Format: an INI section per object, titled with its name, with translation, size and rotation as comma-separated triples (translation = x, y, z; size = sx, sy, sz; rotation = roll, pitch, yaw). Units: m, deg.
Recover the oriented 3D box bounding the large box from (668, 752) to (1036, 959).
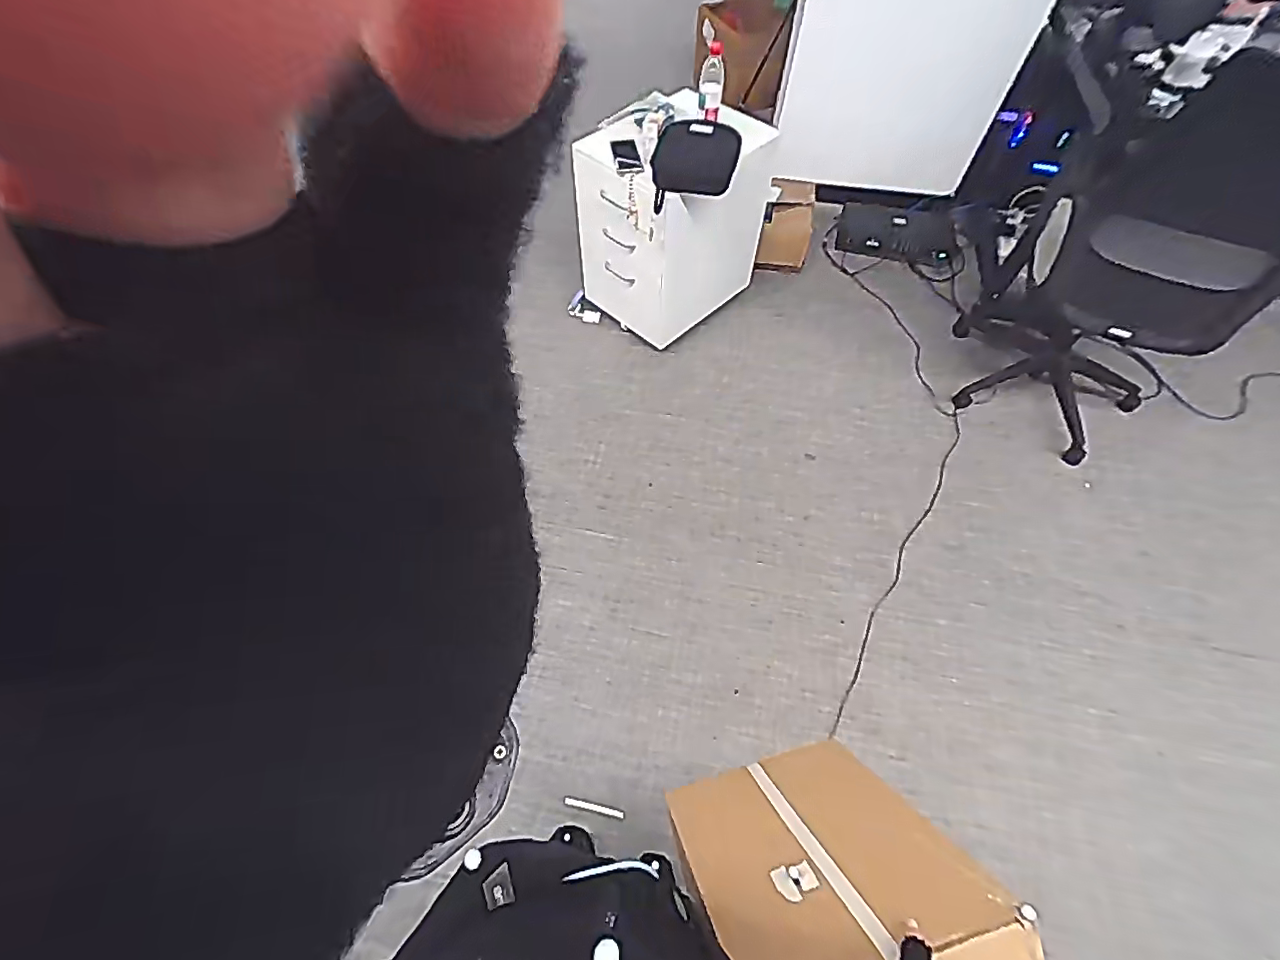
[large box]
translation = 0.254, 0.644, 0.723
size = 0.320, 0.408, 0.320
rotation = -13, 91, -8
